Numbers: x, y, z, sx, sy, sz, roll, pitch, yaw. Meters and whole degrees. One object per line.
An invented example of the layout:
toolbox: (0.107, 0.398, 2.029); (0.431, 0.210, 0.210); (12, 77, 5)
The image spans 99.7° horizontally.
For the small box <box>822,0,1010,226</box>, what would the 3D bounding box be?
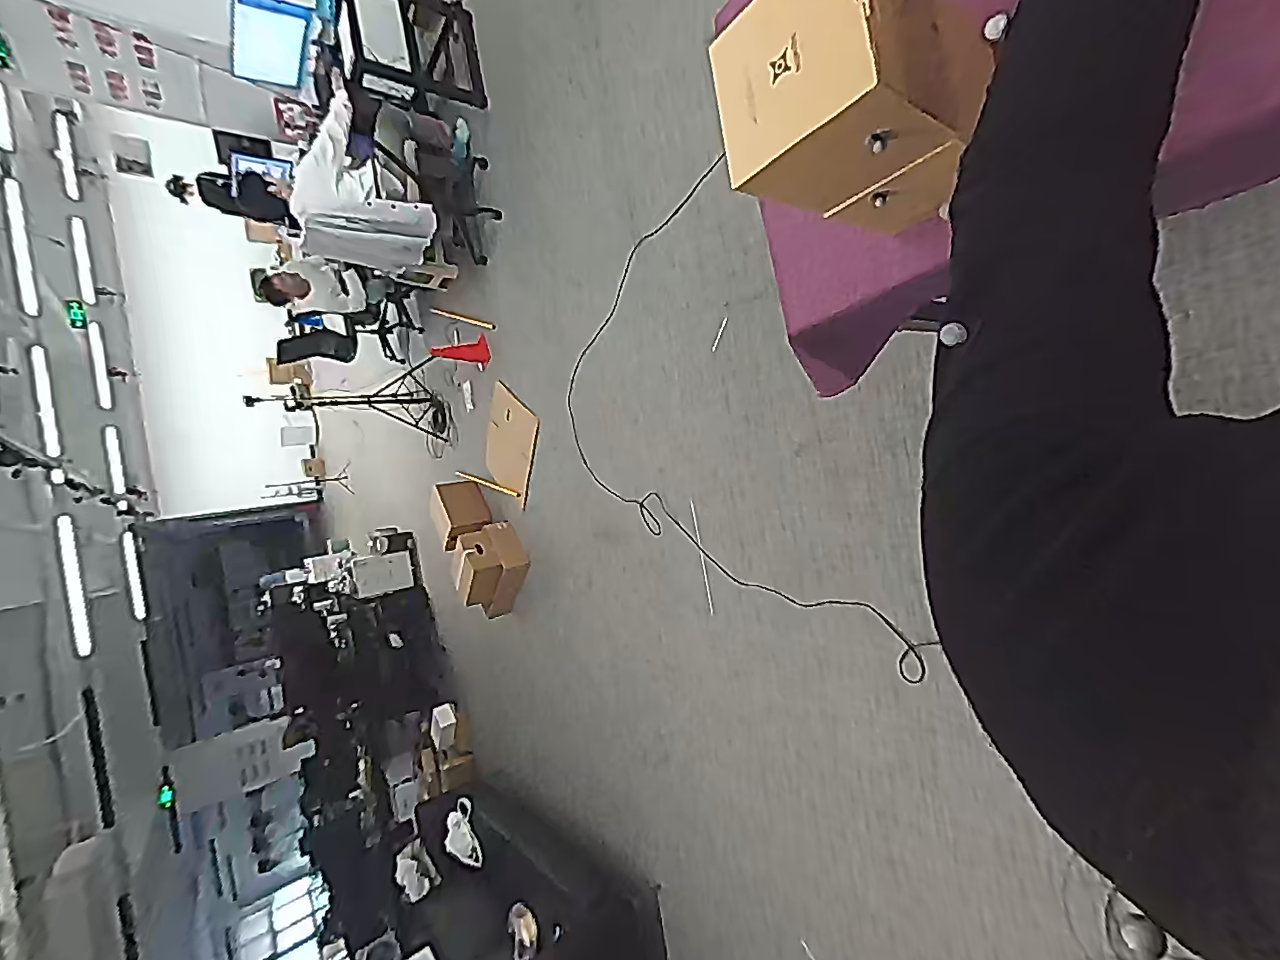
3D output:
small box: (0.336, -0.451, 0.684); (0.168, 0.176, 0.179); (-11, 88, 53)

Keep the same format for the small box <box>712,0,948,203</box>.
small box: (0.208, -0.430, 0.585); (0.179, 0.176, 0.168); (-9, 90, 53)
